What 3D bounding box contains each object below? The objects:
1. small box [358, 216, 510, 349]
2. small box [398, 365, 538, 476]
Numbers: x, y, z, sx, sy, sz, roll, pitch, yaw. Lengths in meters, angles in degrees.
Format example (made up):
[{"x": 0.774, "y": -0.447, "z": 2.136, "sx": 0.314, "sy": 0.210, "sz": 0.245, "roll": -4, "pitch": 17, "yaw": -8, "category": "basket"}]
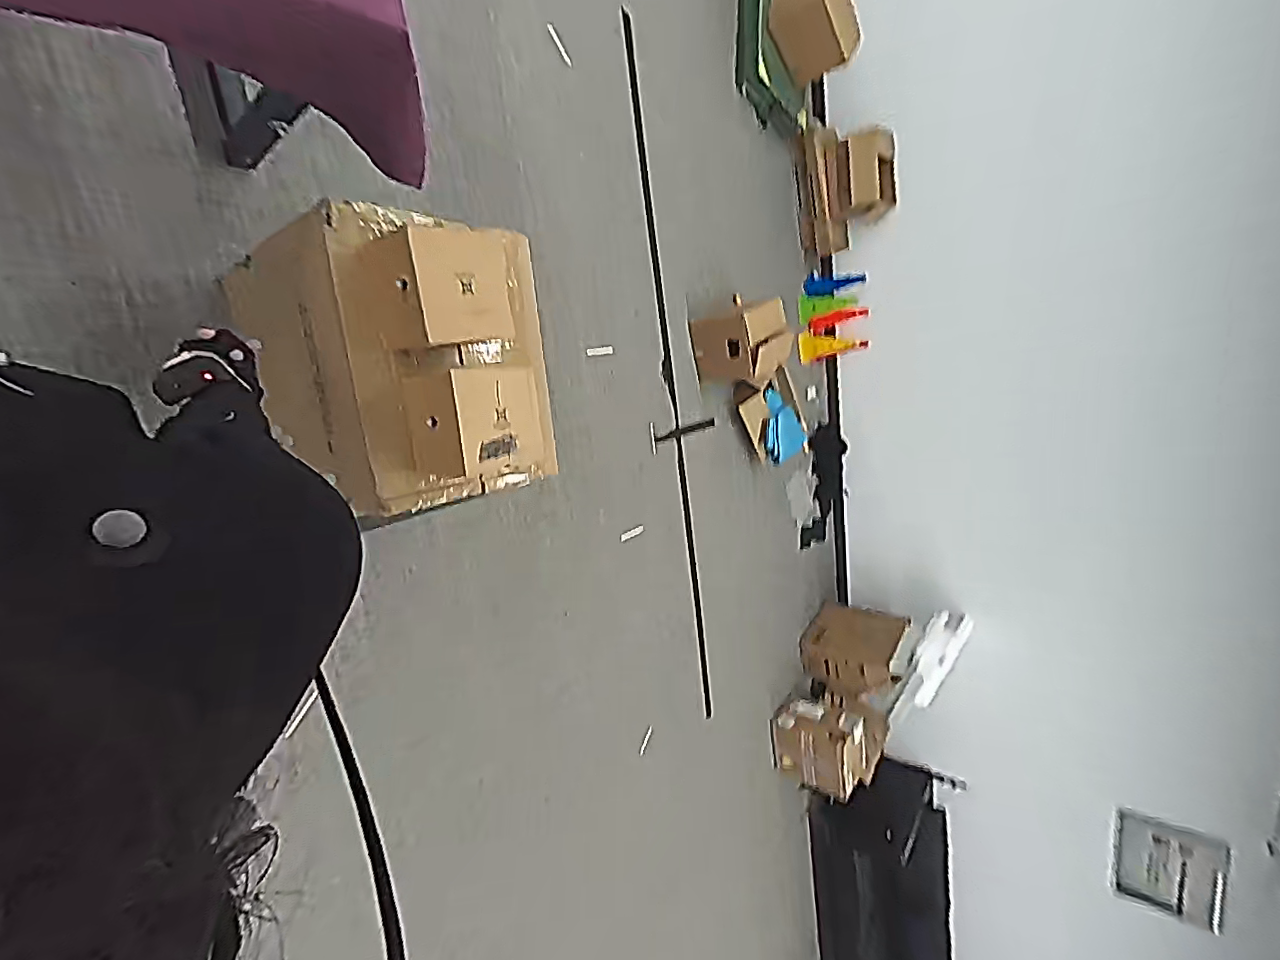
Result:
[{"x": -0.344, "y": -0.319, "z": 0.904, "sx": 0.168, "sy": 0.176, "sz": 0.179, "roll": -20, "pitch": 110, "yaw": -46, "category": "small box"}, {"x": -0.306, "y": -0.108, "z": 0.964, "sx": 0.168, "sy": 0.176, "sz": 0.179, "roll": -15, "pitch": 103, "yaw": -48, "category": "small box"}]
